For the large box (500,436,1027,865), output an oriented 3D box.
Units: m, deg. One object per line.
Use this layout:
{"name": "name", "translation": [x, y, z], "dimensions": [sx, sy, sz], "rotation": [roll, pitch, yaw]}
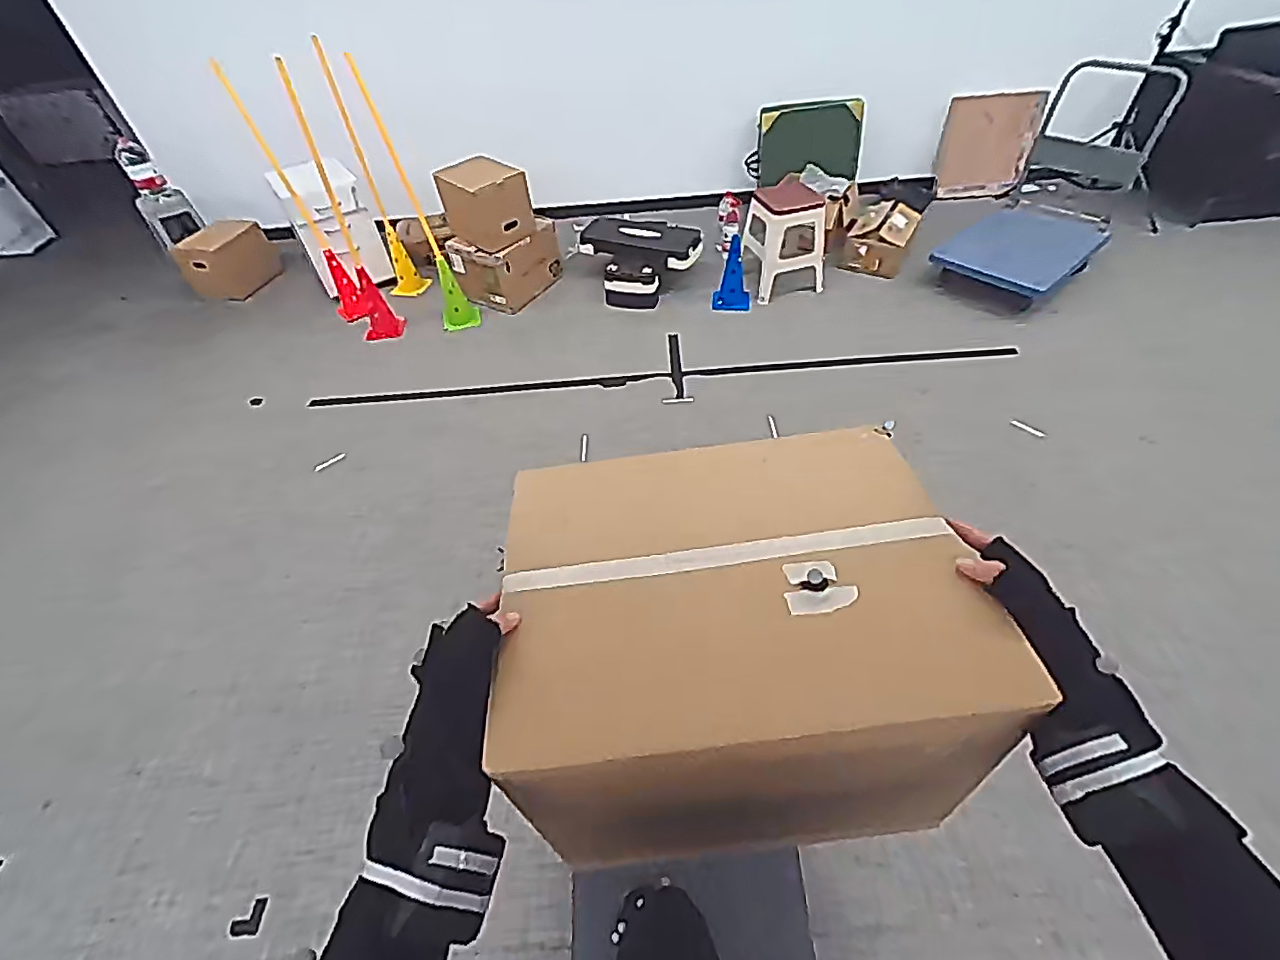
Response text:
{"name": "large box", "translation": [0.092, 0.188, 0.605], "dimensions": [0.408, 0.320, 0.320], "rotation": [-8, 43, 1]}
